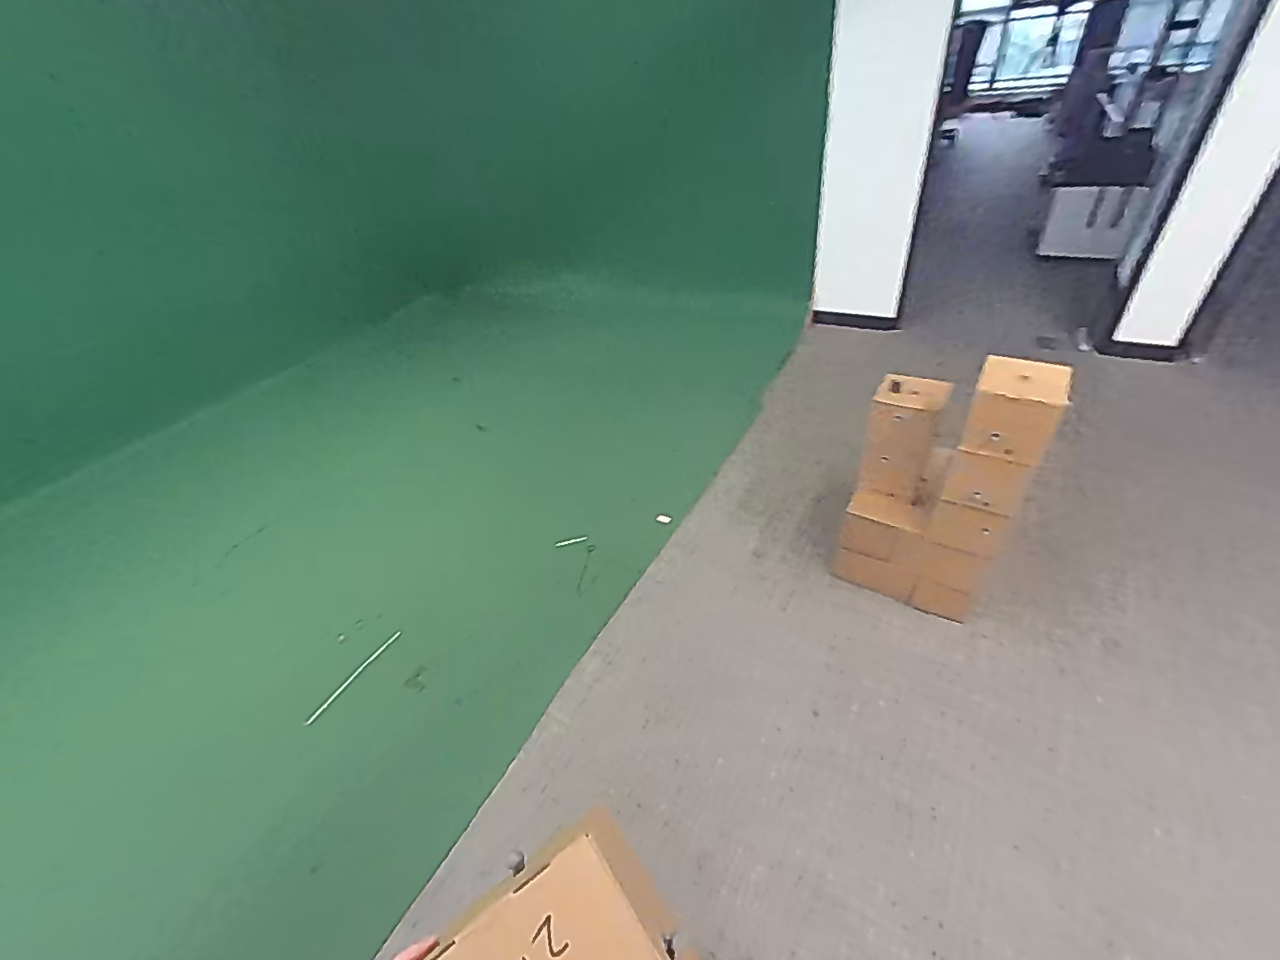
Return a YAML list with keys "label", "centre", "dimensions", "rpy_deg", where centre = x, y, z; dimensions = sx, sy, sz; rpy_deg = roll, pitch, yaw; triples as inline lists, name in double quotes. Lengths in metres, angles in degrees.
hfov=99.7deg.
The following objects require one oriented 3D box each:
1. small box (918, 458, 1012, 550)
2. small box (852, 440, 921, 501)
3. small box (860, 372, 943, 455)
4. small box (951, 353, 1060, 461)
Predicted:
- label: "small box"
  centre: [0.889, 0.068, 1.485]
  dimensions: [0.179, 0.176, 0.168]
  rpy_deg: [17, 45, 27]
- label: "small box"
  centre: [0.767, -0.066, 1.671]
  dimensions: [0.168, 0.176, 0.179]
  rpy_deg: [17, 45, 29]
- label: "small box"
  centre: [0.751, -0.191, 1.561]
  dimensions: [0.179, 0.176, 0.168]
  rpy_deg: [16, 45, 29]
- label: "small box"
  centre: [0.852, -0.173, 1.268]
  dimensions: [0.168, 0.176, 0.179]
  rpy_deg: [19, 47, 28]
